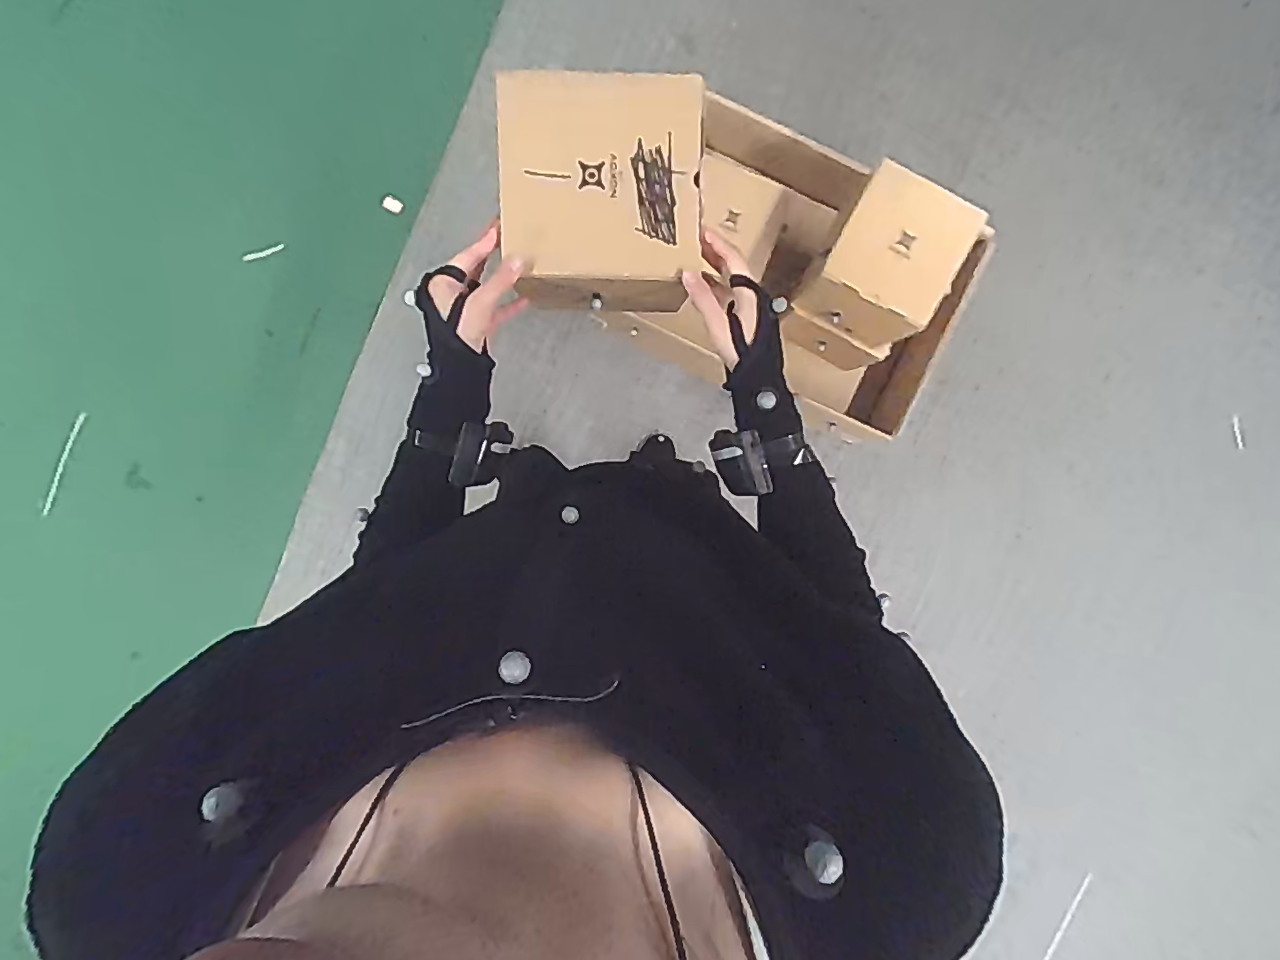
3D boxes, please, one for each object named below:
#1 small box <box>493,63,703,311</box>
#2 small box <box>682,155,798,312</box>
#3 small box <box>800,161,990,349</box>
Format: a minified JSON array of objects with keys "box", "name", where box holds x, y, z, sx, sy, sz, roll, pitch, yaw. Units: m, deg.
[{"box":[-0.040,-0.268,0.535,0.179,0.176,0.168,0,97,-2],"name":"small box"},{"box":[0.153,-0.427,0.967,0.168,0.176,0.179,22,94,-2],"name":"small box"},{"box":[0.364,-0.322,0.812,0.168,0.176,0.179,28,93,-1],"name":"small box"}]
